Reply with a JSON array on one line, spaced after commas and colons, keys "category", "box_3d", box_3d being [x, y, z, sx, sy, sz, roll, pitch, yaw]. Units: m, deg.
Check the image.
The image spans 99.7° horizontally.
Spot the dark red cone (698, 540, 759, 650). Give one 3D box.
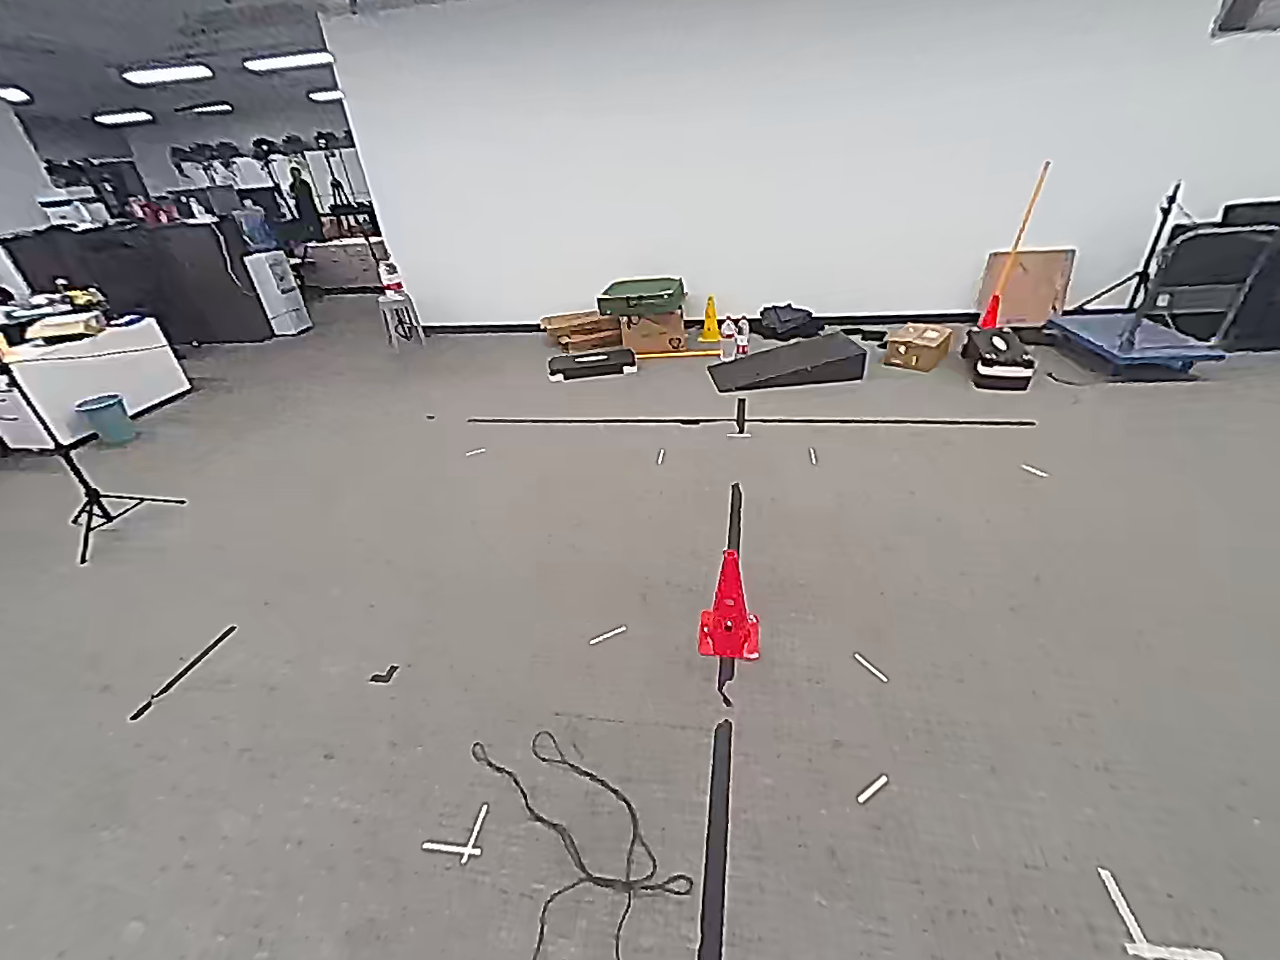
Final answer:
[{"category": "dark red cone", "box_3d": [0.287, 0.355, 1.749, 0.201, 0.394, 0.202, 0, 32, 10]}]
